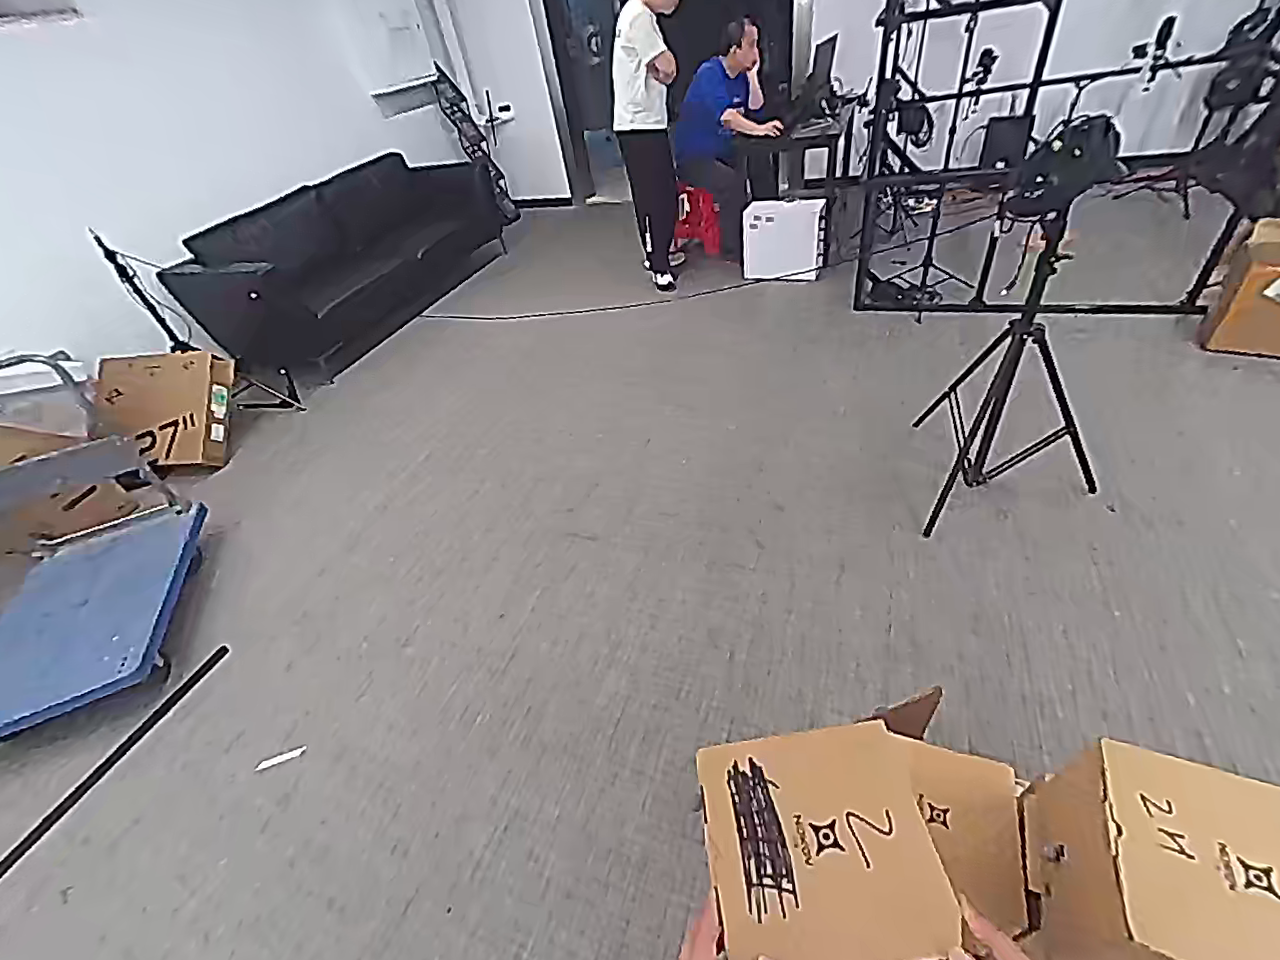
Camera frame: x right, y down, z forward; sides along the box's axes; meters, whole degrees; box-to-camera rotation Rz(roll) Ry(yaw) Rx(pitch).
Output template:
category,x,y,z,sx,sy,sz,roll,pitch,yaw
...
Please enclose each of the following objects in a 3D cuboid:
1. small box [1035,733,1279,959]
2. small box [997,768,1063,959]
category,x,y,z,sx,sy,sz,roll,pitch,yaw
small box,0.492,0.367,0.487,0.179,0.176,0.168,12,47,22
small box,0.529,0.471,0.613,0.179,0.176,0.168,14,49,24
